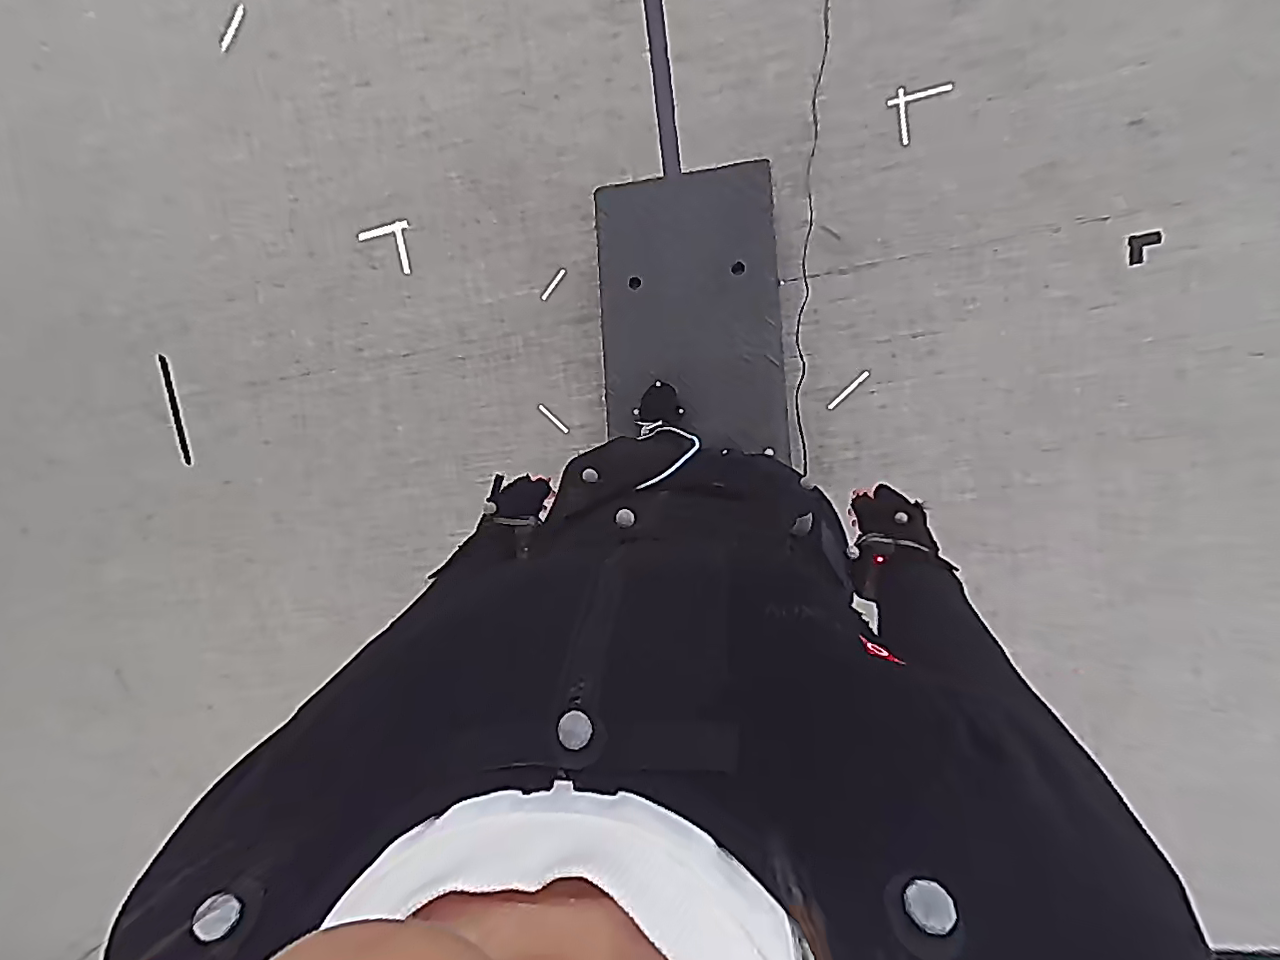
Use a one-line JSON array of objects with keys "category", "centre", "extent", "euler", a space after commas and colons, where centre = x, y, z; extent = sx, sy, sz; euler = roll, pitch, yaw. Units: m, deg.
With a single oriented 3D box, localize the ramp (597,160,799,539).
[{"category": "ramp", "centre": [0.140, -0.348, 1.471], "extent": [0.509, 0.206, 0.991], "euler": [-6, 96, 12]}]
